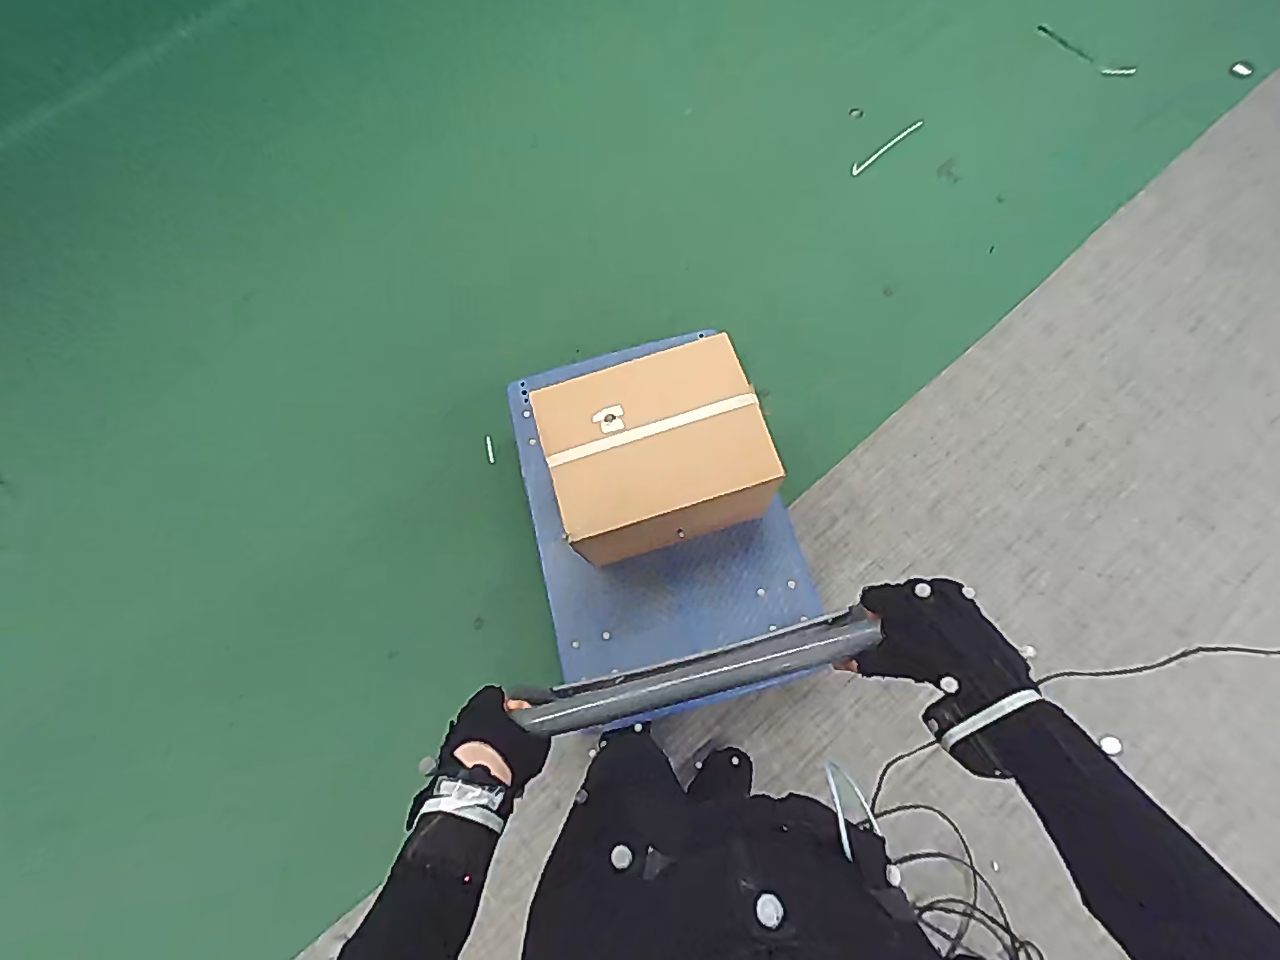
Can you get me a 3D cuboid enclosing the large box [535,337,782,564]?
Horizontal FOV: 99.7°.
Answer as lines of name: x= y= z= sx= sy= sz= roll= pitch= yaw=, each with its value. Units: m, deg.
large box: x=0.039 y=-0.042 z=1.157 sx=0.408 sy=0.320 sz=0.320 roll=-18 pitch=72 yaw=0
